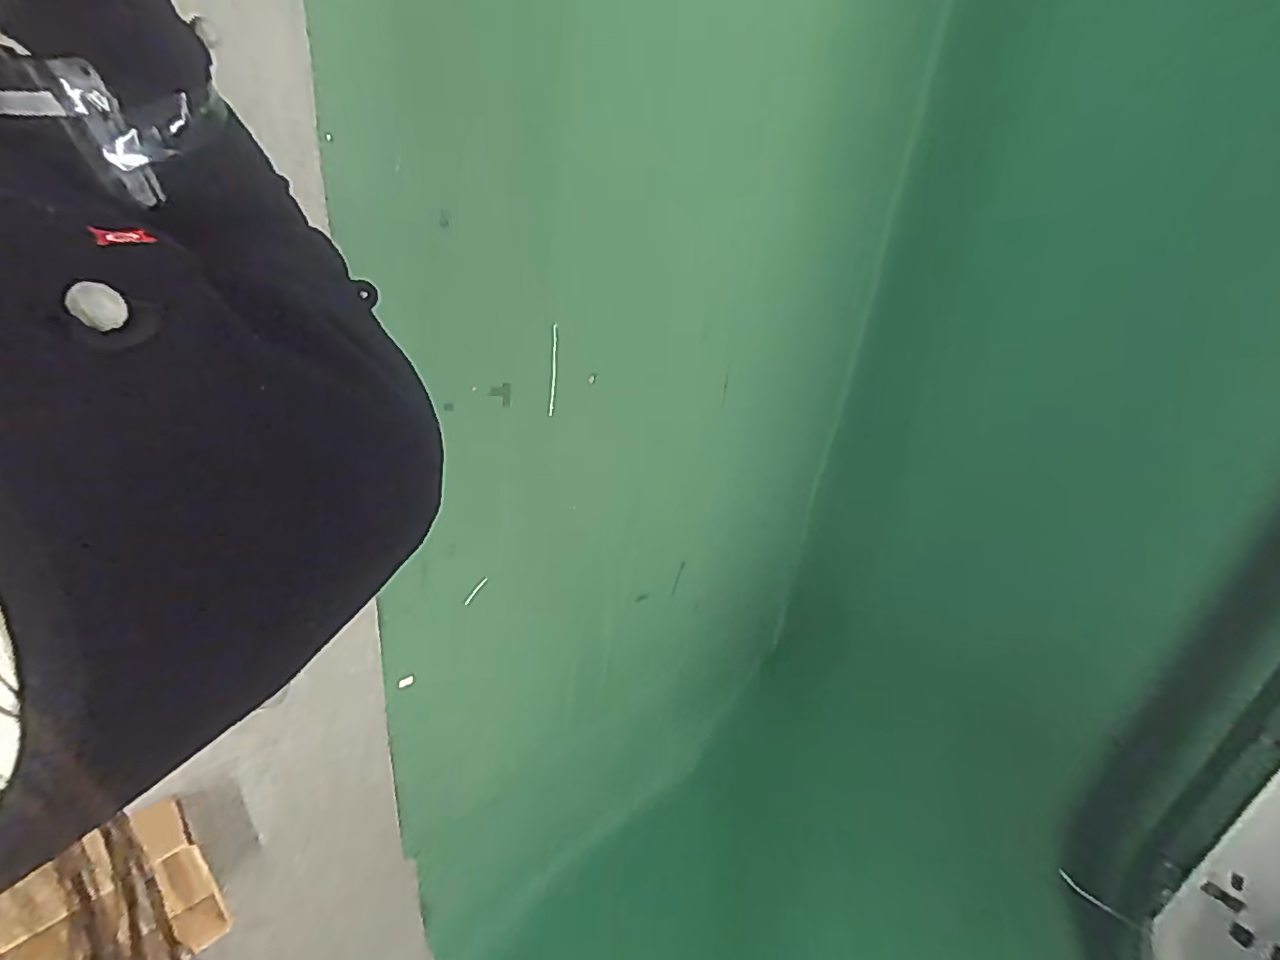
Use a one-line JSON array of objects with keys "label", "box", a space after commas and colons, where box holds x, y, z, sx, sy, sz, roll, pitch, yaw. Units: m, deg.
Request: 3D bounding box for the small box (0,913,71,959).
[{"label": "small box", "box": [-1.385, 1.111, 1.185, 0.168, 0.176, 0.179, -20, 126, -43]}]
